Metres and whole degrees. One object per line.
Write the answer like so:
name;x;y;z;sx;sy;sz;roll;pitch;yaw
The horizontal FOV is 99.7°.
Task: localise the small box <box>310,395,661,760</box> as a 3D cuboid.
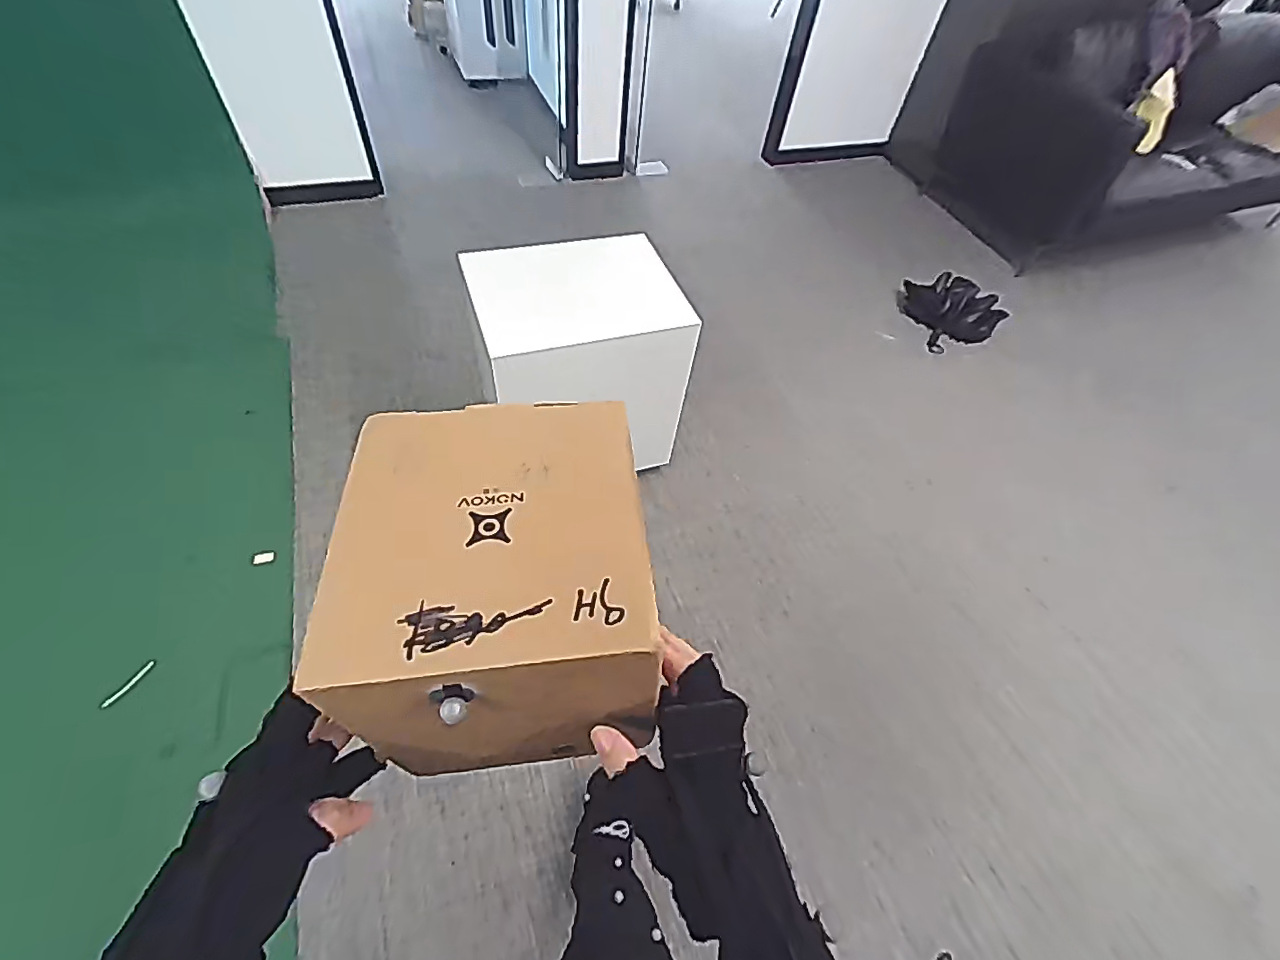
small box;-0.081;0.067;0.367;0.168;0.176;0.179;-6;51;-4
